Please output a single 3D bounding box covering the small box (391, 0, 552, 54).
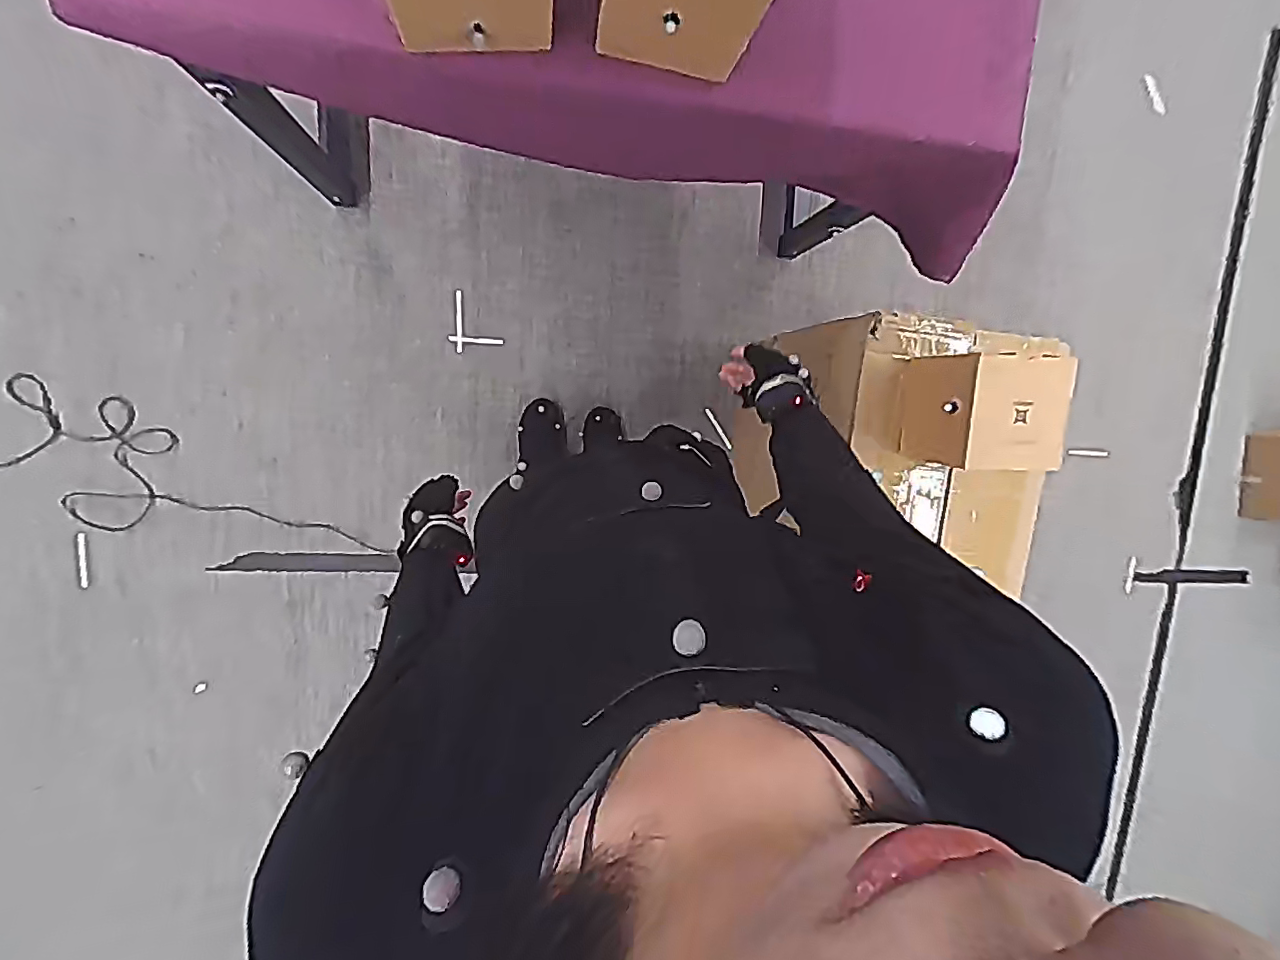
[{"bbox_3d":[-0.188,-0.592,0.574,0.179,0.176,0.168,-9,99,-10],"label":"small box"}]

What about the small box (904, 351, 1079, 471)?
[{"bbox_3d":[0.558,-0.112,0.883,0.168,0.176,0.179,0,100,-8],"label":"small box"}]

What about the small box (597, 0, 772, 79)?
[{"bbox_3d":[0.053,-0.602,0.615,0.179,0.176,0.168,6,96,-10],"label":"small box"}]
